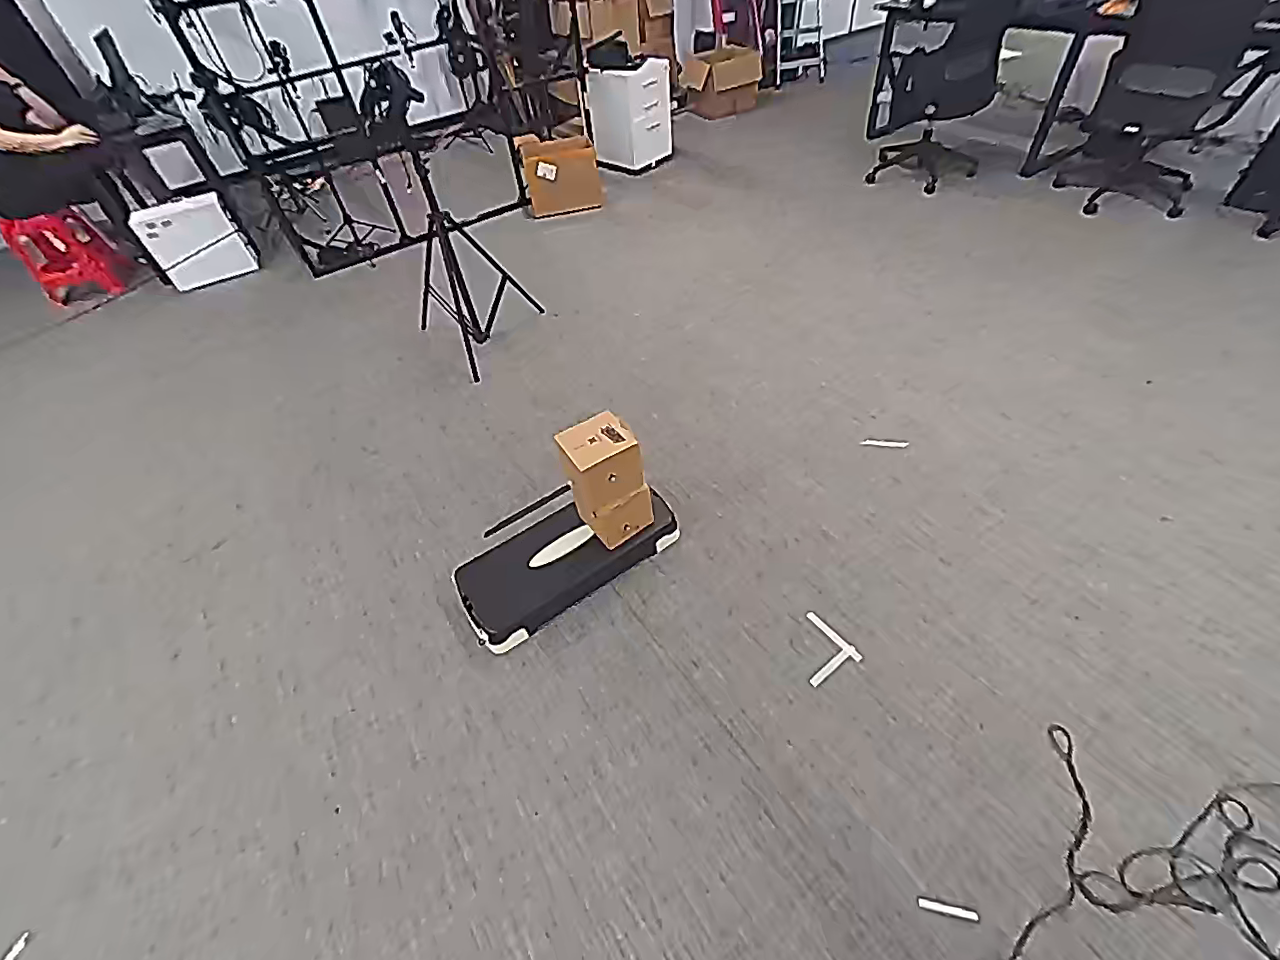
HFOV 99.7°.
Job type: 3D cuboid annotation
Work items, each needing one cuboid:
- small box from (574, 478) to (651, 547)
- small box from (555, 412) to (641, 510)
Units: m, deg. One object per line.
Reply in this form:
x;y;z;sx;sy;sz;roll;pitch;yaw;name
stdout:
-0.083;0.065;1.604;0.168;0.176;0.179;-32;53;-21;small box
-0.109;-0.051;1.490;0.179;0.176;0.168;-28;51;-17;small box
